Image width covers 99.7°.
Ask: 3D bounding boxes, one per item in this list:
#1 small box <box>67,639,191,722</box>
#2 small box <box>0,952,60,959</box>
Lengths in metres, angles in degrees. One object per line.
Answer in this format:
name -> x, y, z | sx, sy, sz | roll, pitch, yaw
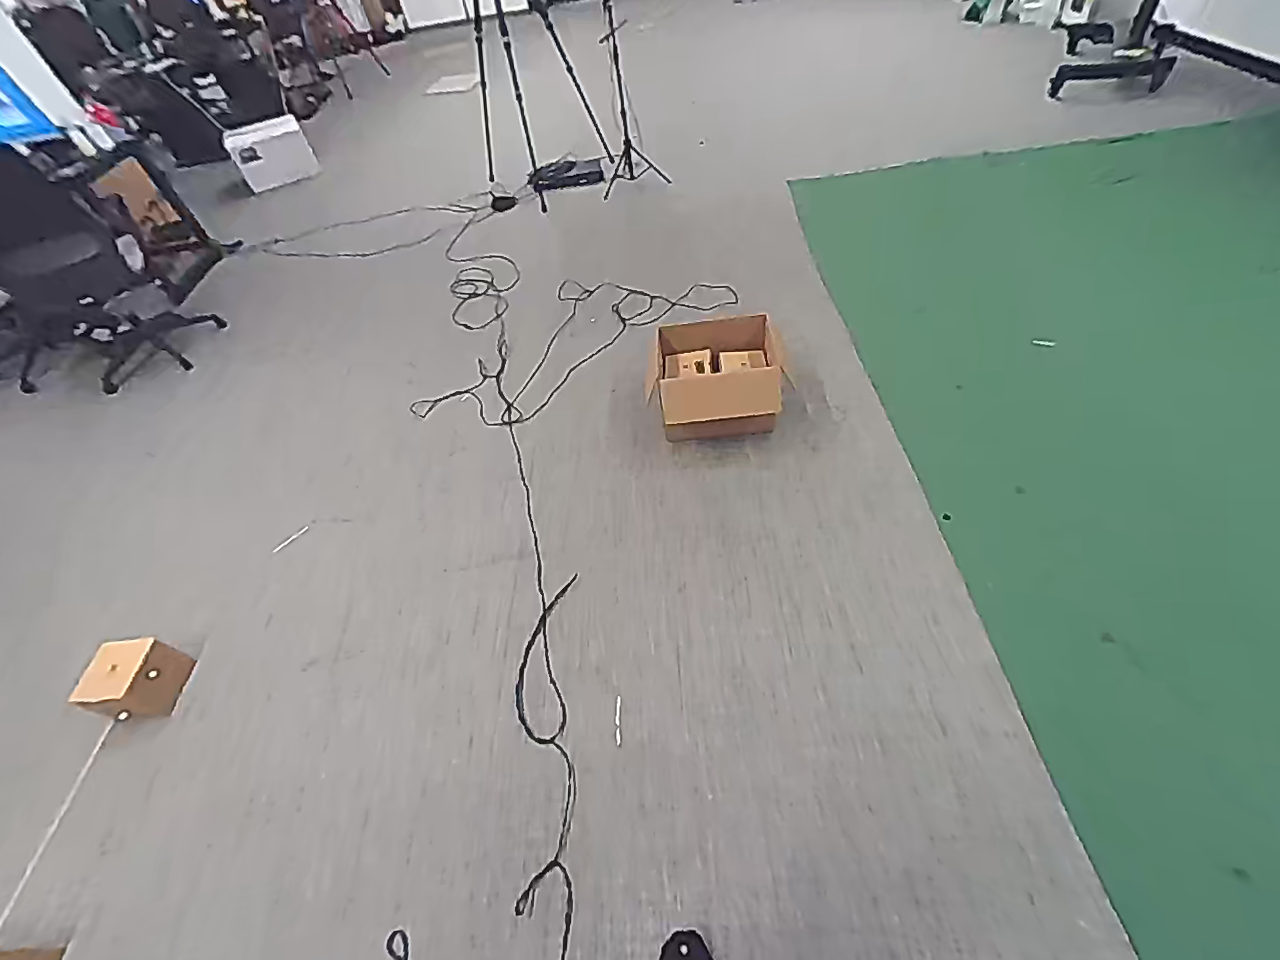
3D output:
small box -> -1.476, 0.587, 1.580 | 0.168, 0.176, 0.179 | -7, 51, 3
small box -> -1.425, 1.113, 1.143 | 0.179, 0.176, 0.168 | -7, 51, 4
